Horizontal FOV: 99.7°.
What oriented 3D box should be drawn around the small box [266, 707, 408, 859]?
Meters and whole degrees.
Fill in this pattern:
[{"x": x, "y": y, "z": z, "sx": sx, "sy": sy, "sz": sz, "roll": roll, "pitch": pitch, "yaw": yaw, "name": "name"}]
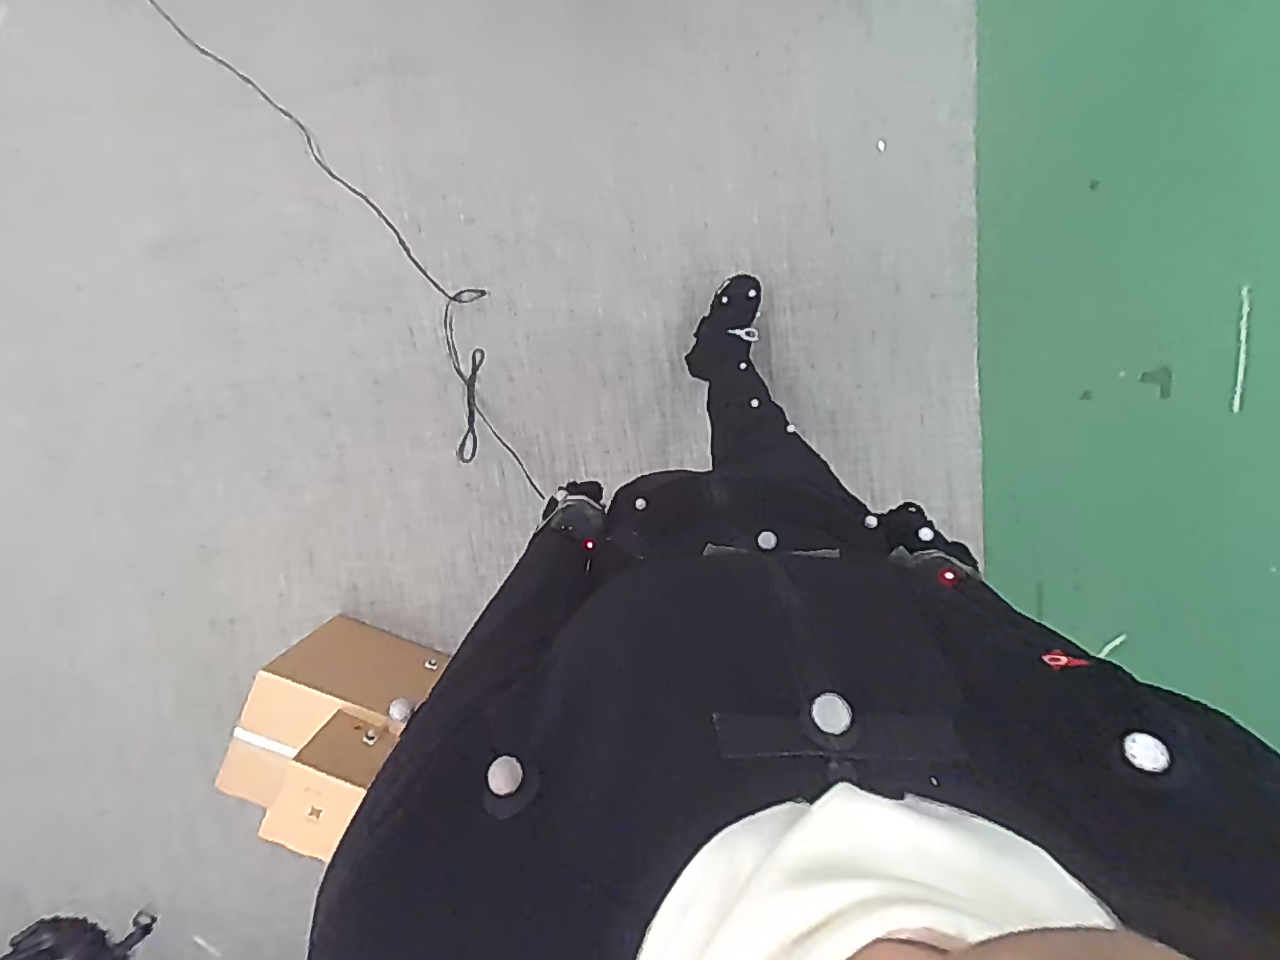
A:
[{"x": -0.604, "y": 0.607, "z": 1.101, "sx": 0.168, "sy": 0.176, "sz": 0.179, "roll": 25, "pitch": 96, "yaw": -4, "name": "small box"}]
